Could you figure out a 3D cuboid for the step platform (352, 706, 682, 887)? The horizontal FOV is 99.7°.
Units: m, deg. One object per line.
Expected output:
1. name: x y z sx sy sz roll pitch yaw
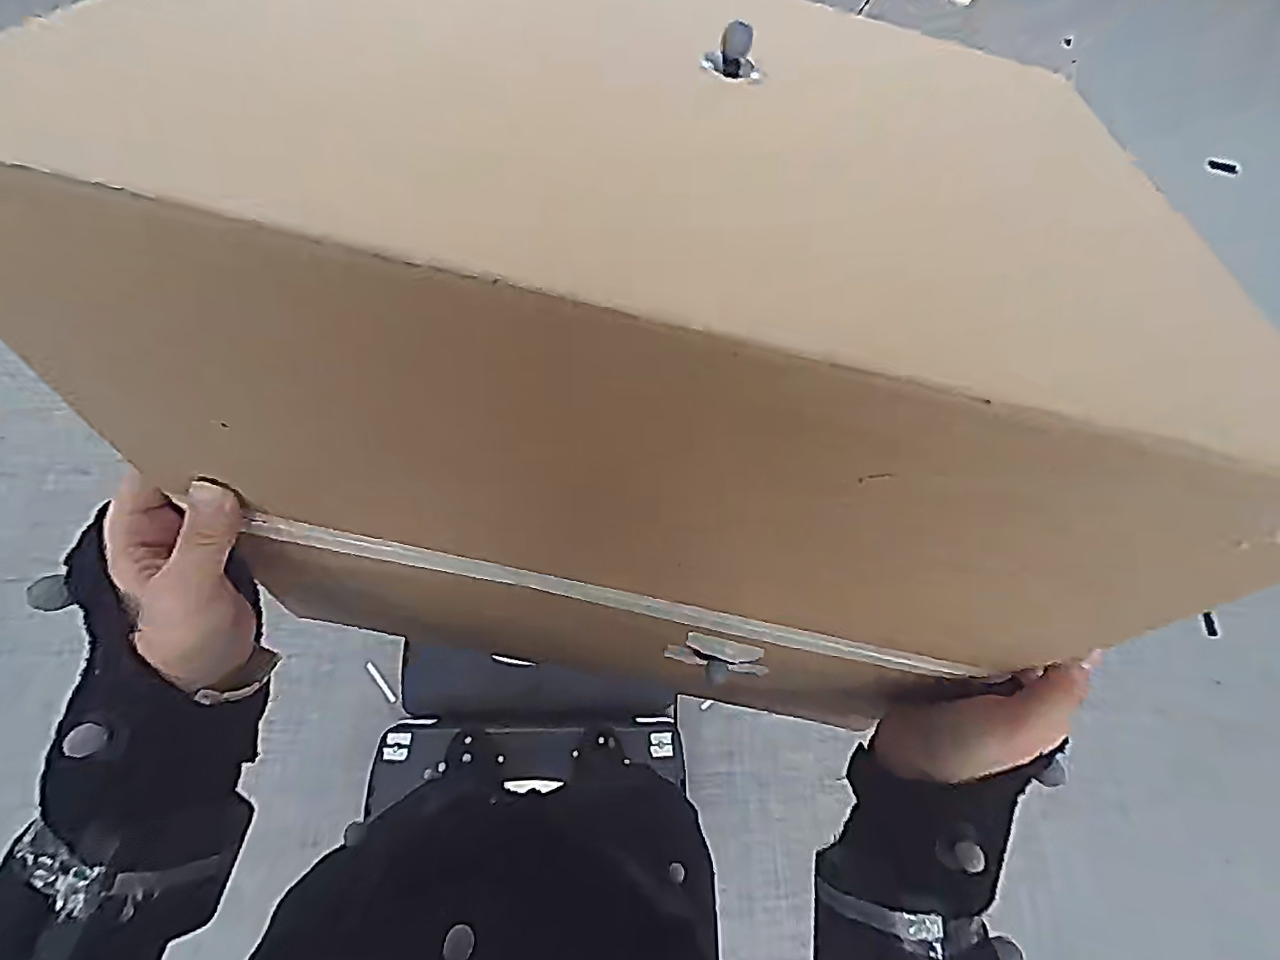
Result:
1. step platform: -0.247 0.683 1.191 0.684 0.204 0.286 6 70 -1
